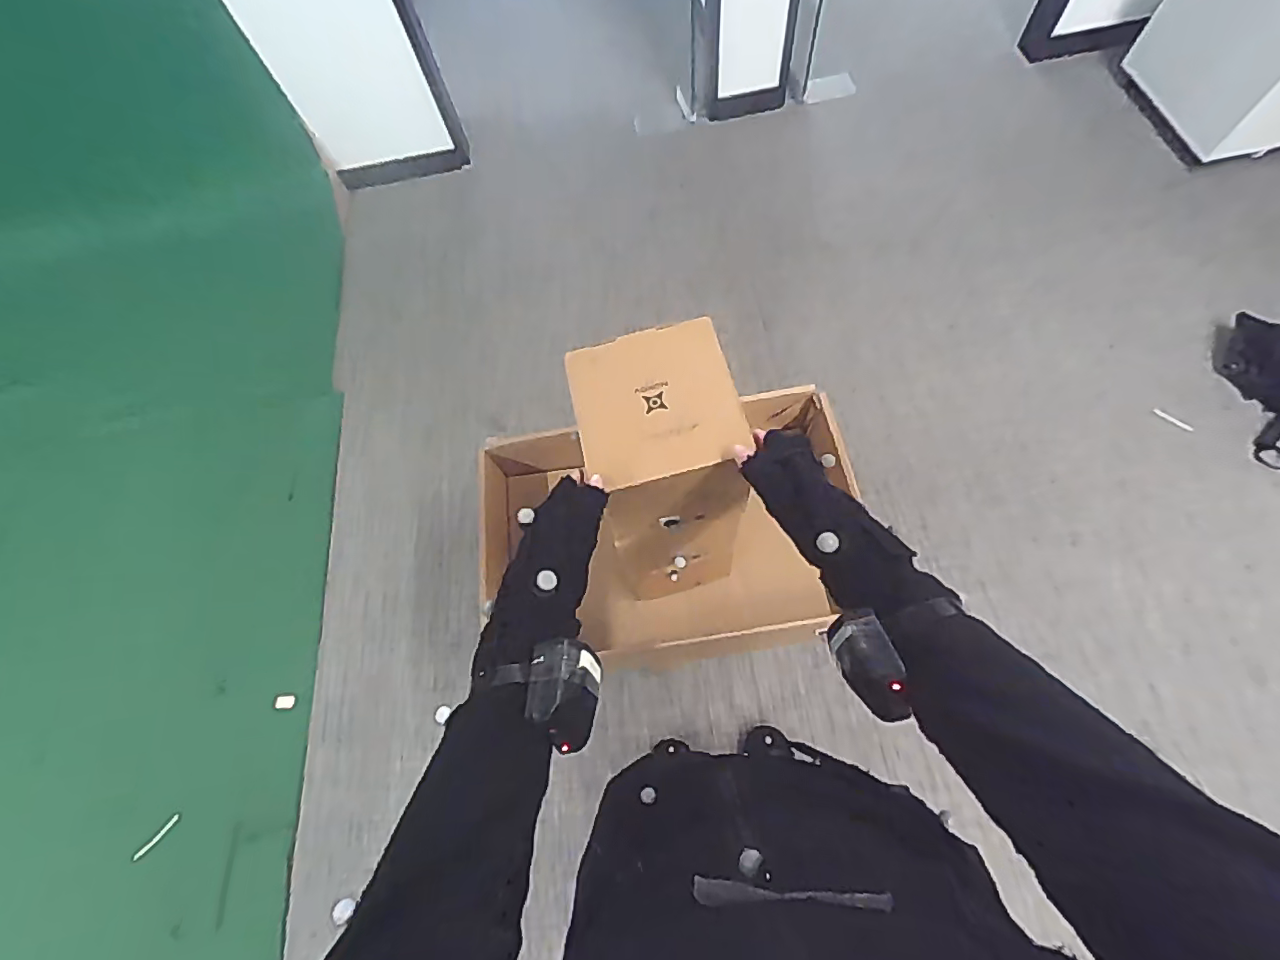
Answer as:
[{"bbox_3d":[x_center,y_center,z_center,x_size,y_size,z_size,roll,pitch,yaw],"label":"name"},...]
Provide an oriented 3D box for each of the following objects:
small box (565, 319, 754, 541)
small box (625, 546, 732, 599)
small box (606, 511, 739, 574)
[{"bbox_3d":[0.023,-0.049,0.627,0.168,0.176,0.179,-15,66,2],"label":"small box"},{"bbox_3d":[0.051,0.085,0.923,0.168,0.176,0.179,-16,65,1],"label":"small box"},{"bbox_3d":[0.034,0.016,0.775,0.168,0.176,0.179,-15,66,0],"label":"small box"}]
